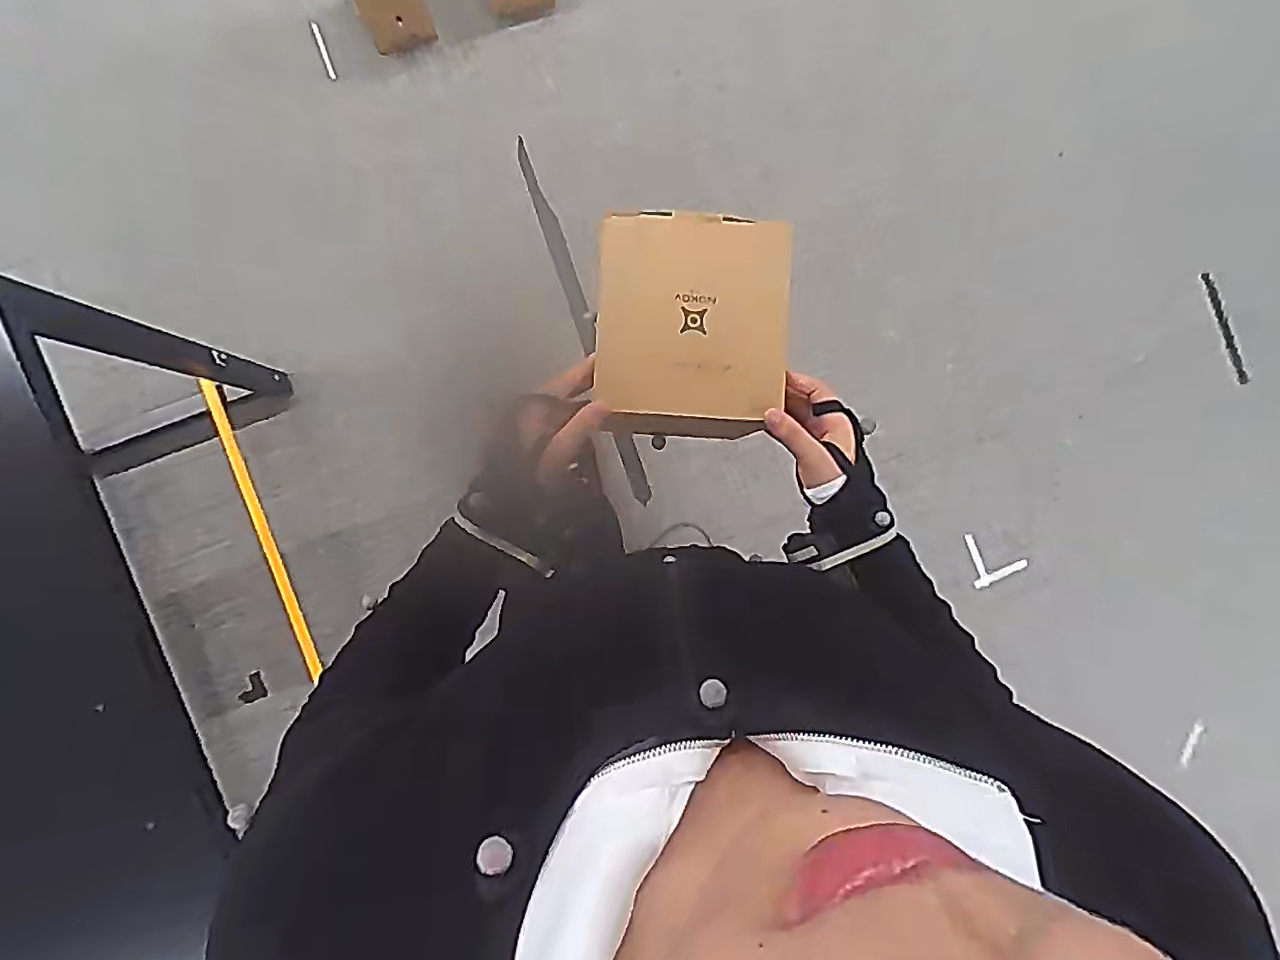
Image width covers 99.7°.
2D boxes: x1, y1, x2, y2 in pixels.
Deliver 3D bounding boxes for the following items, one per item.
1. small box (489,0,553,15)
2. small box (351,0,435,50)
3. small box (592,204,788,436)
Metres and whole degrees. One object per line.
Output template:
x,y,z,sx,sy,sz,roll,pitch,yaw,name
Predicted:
-0.328,-1.351,1.389,0.179,0.176,0.168,-17,92,-6,small box
-0.641,-1.234,1.360,0.168,0.176,0.179,-21,92,-4,small box
0.039,-0.143,0.543,0.168,0.176,0.179,3,89,-3,small box
